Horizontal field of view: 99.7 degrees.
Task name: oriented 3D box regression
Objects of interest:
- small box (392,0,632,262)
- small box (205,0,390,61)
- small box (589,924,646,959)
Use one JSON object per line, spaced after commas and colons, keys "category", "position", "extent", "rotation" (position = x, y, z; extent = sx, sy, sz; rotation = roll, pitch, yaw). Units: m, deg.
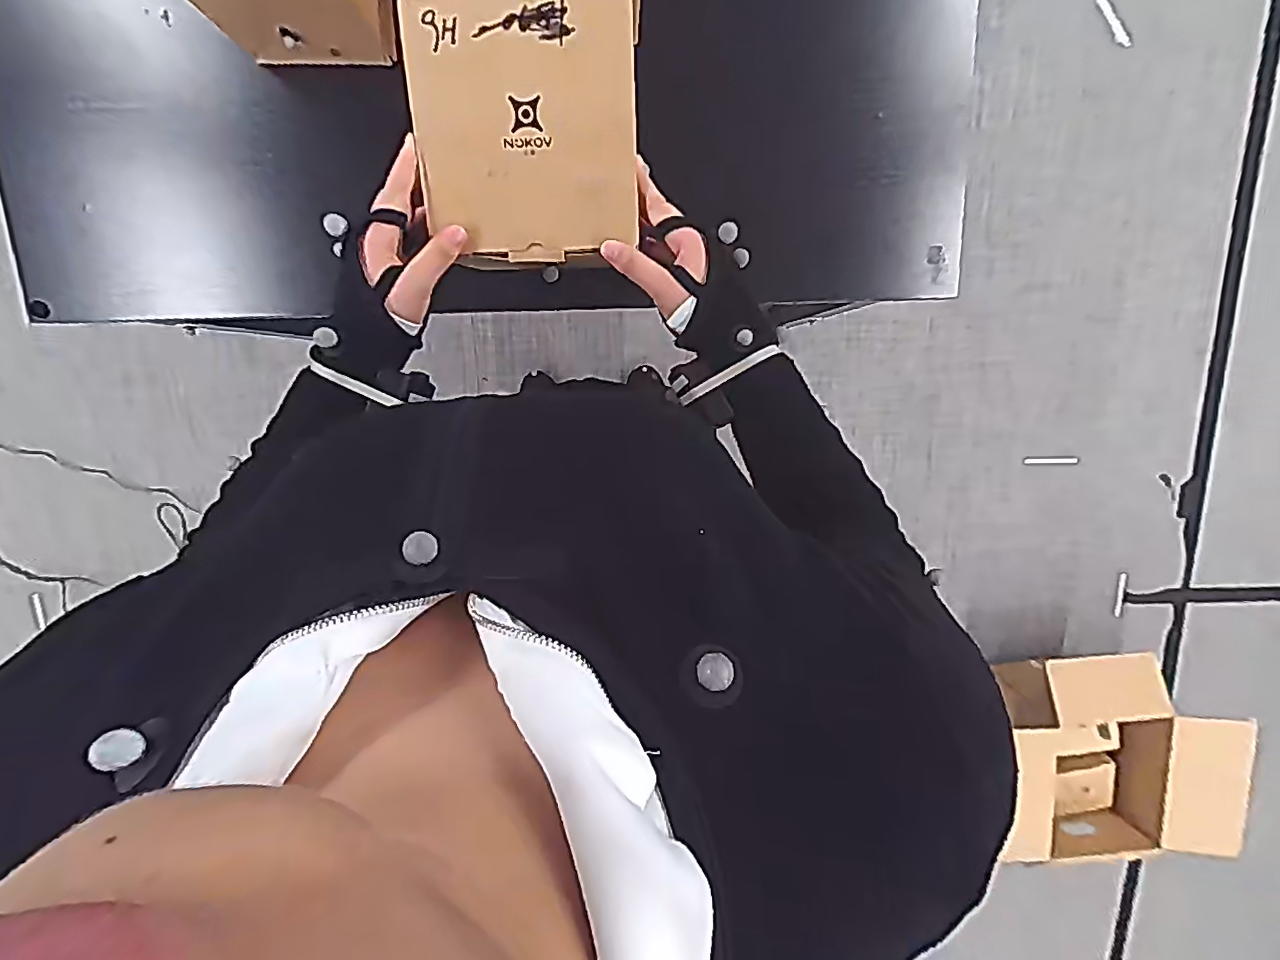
{"category": "small box", "position": [-0.091, -0.289, 0.476], "extent": [0.168, 0.176, 0.179], "rotation": [-2, 109, -1]}
{"category": "small box", "position": [-0.376, -0.576, 0.553], "extent": [0.168, 0.176, 0.179], "rotation": [-1, 101, -2]}
{"category": "small box", "position": [-0.069, 1.514, 1.662], "extent": [0.179, 0.176, 0.168], "rotation": [0, 98, -1]}
